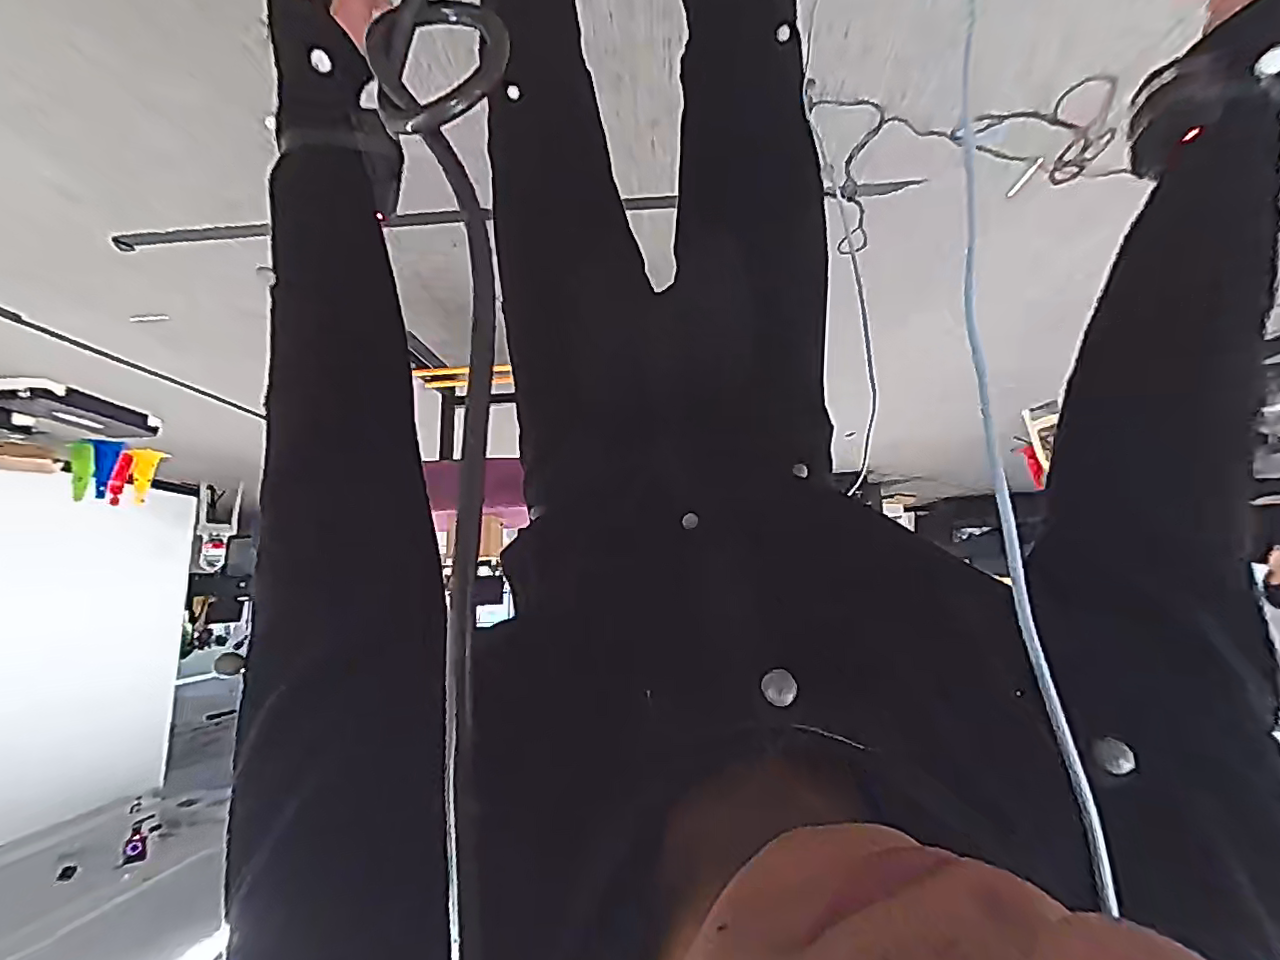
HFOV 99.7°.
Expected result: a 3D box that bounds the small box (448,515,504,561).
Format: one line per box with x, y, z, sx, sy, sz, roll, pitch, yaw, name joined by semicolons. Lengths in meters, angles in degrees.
-0.654;0.233;2.166;0.179;0.176;0.168;-3;169;3;small box
